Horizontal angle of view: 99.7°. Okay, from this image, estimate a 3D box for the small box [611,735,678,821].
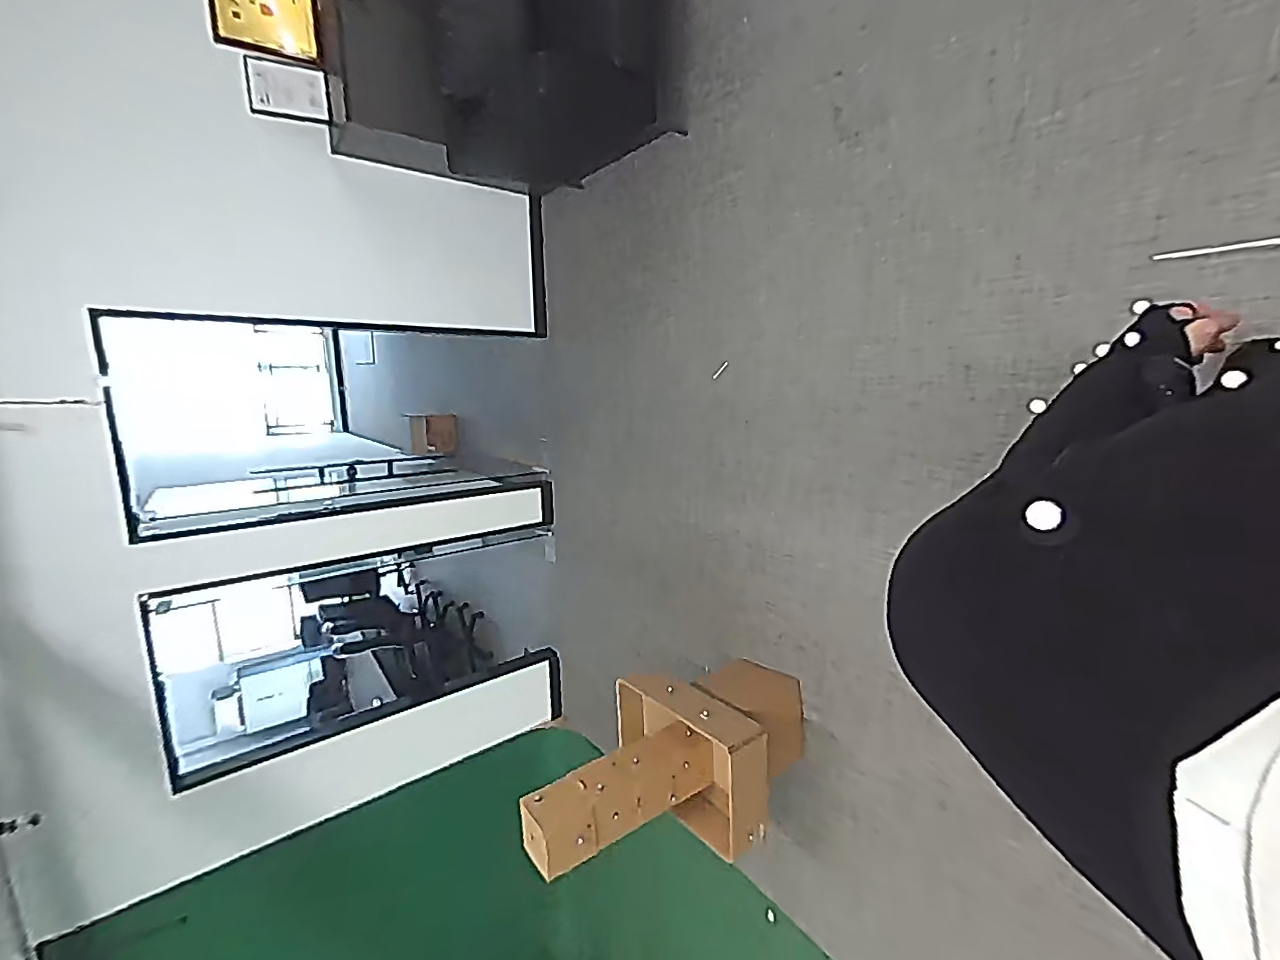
[{"bbox_3d":[0.019,1.011,1.855,0.179,0.176,0.168,8,103,54],"label":"small box"}]

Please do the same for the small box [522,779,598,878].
[{"bbox_3d":[-0.247,1.059,1.667,0.179,0.176,0.168,6,102,54],"label":"small box"}]

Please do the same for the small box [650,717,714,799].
[{"bbox_3d":[0.154,0.994,1.947,0.168,0.176,0.179,7,102,54],"label":"small box"}]
